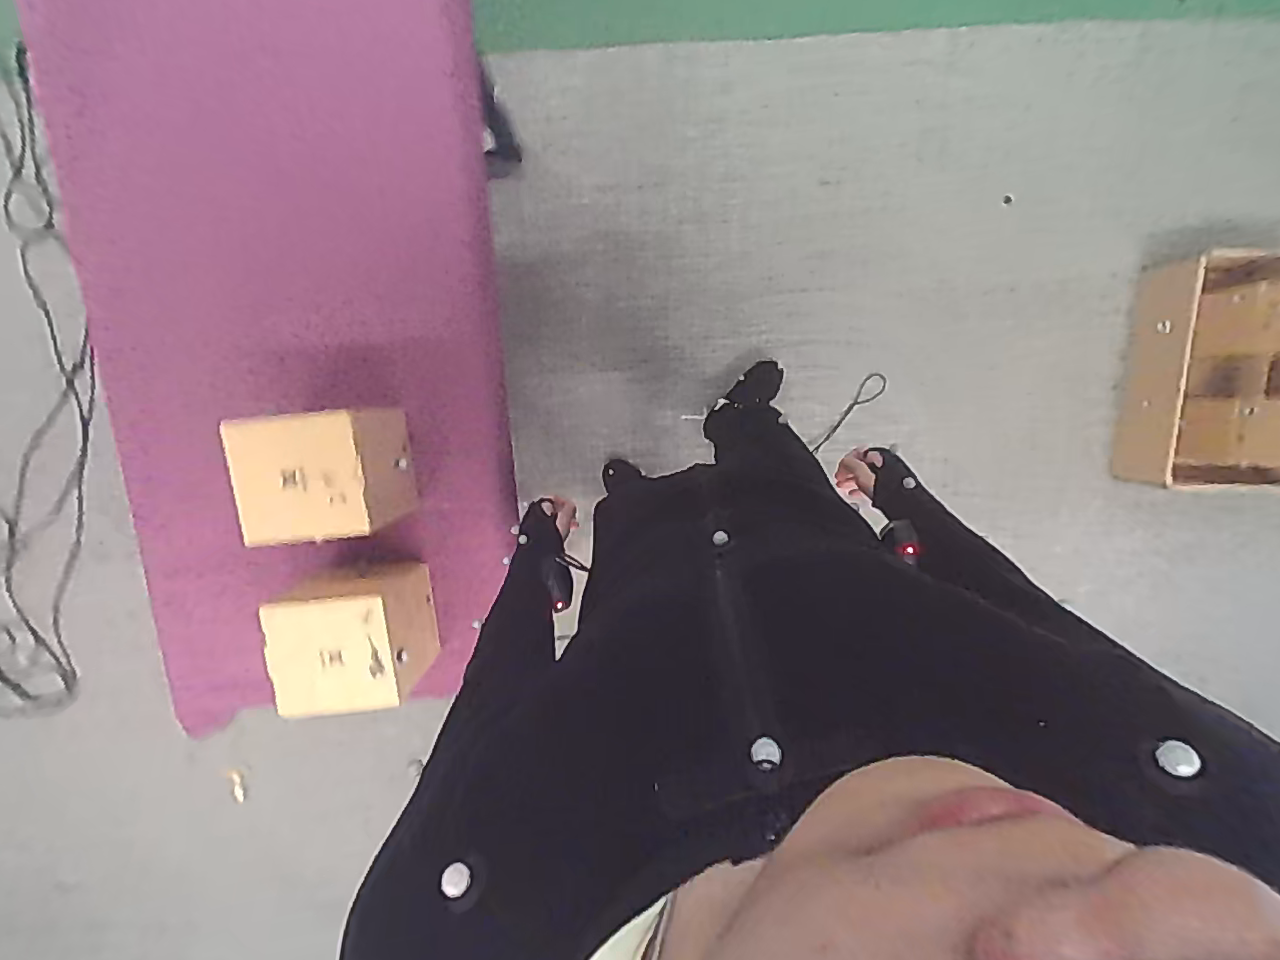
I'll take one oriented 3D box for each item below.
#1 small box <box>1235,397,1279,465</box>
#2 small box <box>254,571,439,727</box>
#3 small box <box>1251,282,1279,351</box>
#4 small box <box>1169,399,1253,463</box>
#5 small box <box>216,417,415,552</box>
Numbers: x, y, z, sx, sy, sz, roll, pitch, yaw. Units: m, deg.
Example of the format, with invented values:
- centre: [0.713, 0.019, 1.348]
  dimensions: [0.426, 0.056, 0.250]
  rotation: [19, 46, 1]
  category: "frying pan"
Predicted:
- centre: [1.624, -0.115, 1.313]
  dimensions: [0.179, 0.176, 0.168]
  rotation: [2, 97, -2]
  category: "small box"
- centre: [-0.430, 0.246, 0.820]
  dimensions: [0.179, 0.176, 0.168]
  rotation: [-5, 99, 1]
  category: "small box"
- centre: [1.634, -0.396, 1.276]
  dimensions: [0.179, 0.176, 0.168]
  rotation: [1, 99, -2]
  category: "small box"
- centre: [1.621, -0.135, 1.476]
  dimensions: [0.179, 0.176, 0.168]
  rotation: [0, 96, -1]
  category: "small box"
- centre: [-0.456, -0.002, 0.786]
  dimensions: [0.179, 0.176, 0.168]
  rotation: [-6, 98, 0]
  category: "small box"
